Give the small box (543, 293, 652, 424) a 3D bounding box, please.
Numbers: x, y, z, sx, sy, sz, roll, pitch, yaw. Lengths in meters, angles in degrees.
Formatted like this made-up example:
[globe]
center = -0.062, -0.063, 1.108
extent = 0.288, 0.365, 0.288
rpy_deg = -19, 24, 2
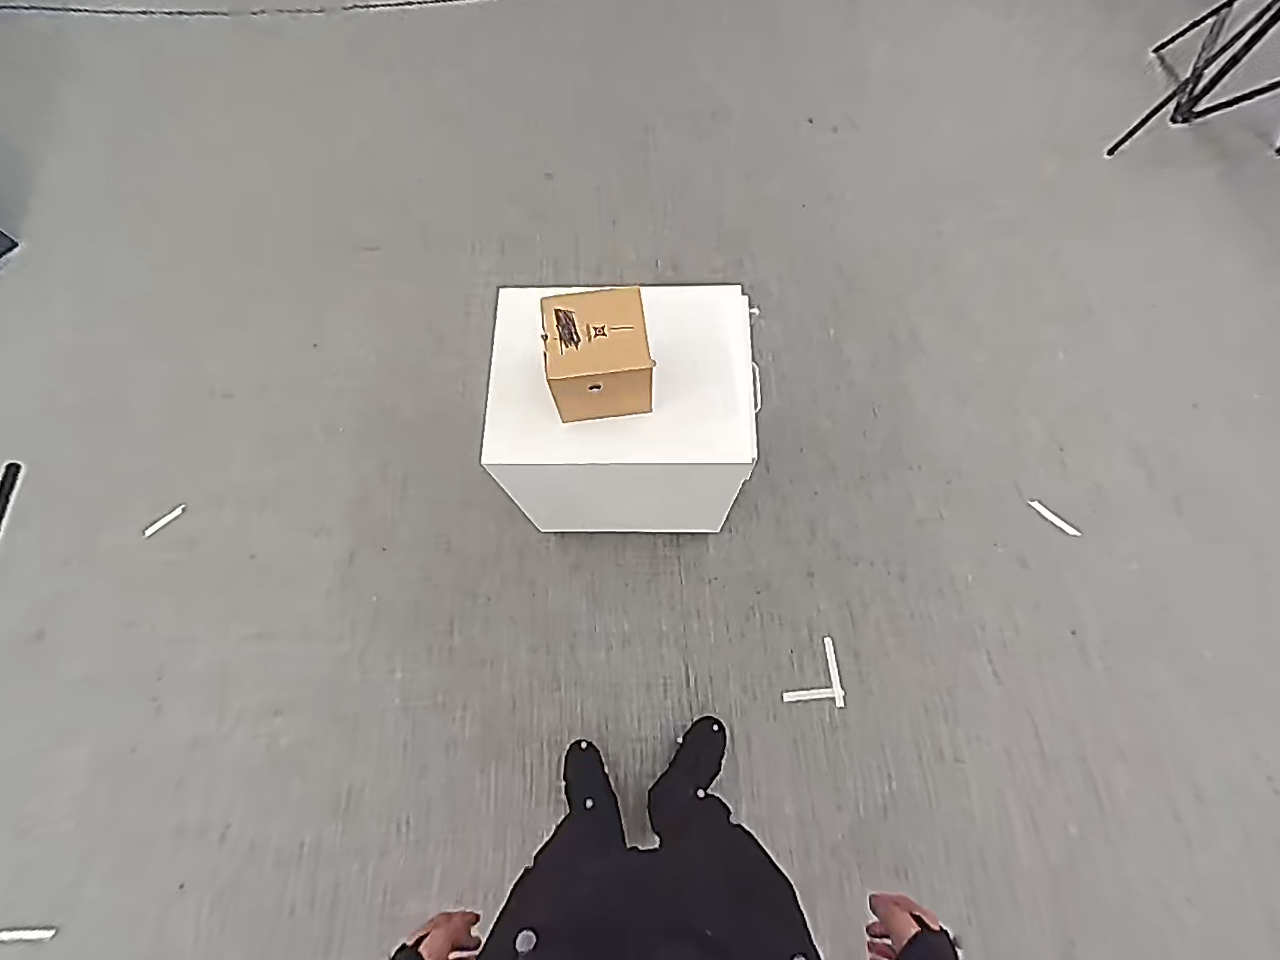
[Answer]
[small box]
center = -0.072, -0.214, 0.989
extent = 0.179, 0.176, 0.168
rpy_deg = -6, 71, -2
